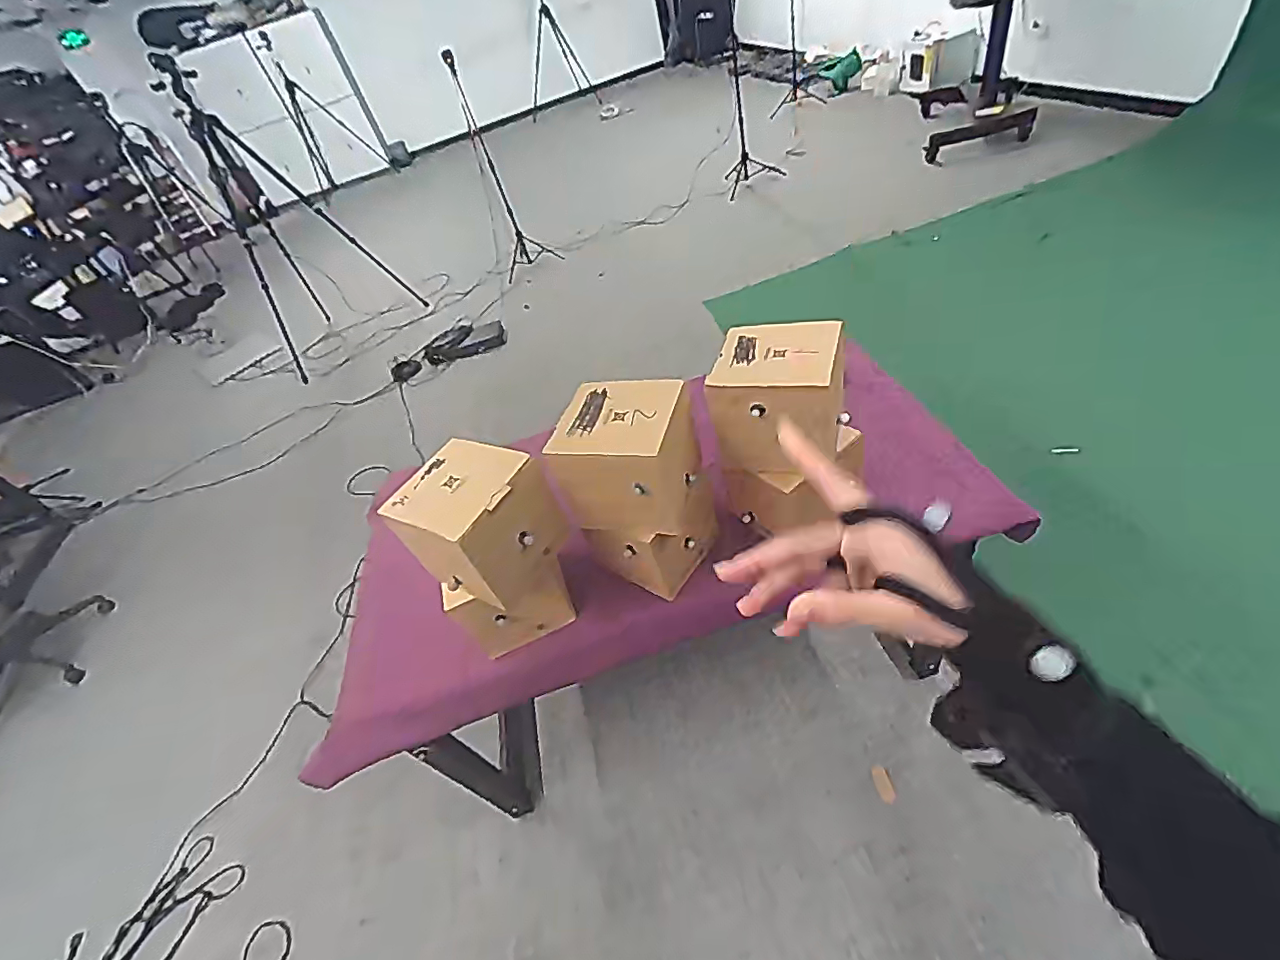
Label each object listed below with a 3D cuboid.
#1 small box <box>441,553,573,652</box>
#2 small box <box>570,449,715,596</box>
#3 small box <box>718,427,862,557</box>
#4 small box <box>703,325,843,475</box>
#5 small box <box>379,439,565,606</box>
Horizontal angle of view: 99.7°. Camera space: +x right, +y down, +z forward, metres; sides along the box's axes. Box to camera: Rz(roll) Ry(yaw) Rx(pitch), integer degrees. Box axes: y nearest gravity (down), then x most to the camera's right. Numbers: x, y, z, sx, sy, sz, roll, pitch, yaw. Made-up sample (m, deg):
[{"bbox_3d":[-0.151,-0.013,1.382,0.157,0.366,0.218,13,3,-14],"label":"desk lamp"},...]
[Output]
[{"bbox_3d":[-0.233,0.174,0.945,0.168,0.176,0.179,-25,42,-6],"label":"small box"},{"bbox_3d":[0.014,0.077,0.952,0.179,0.176,0.168,21,55,36],"label":"small box"},{"bbox_3d":[0.263,-0.003,0.948,0.179,0.176,0.168,-36,44,-16],"label":"small box"},{"bbox_3d":[0.217,-0.124,0.847,0.179,0.176,0.168,5,46,25],"label":"small box"},{"bbox_3d":[-0.241,0.065,0.817,0.179,0.176,0.168,14,51,30],"label":"small box"}]
